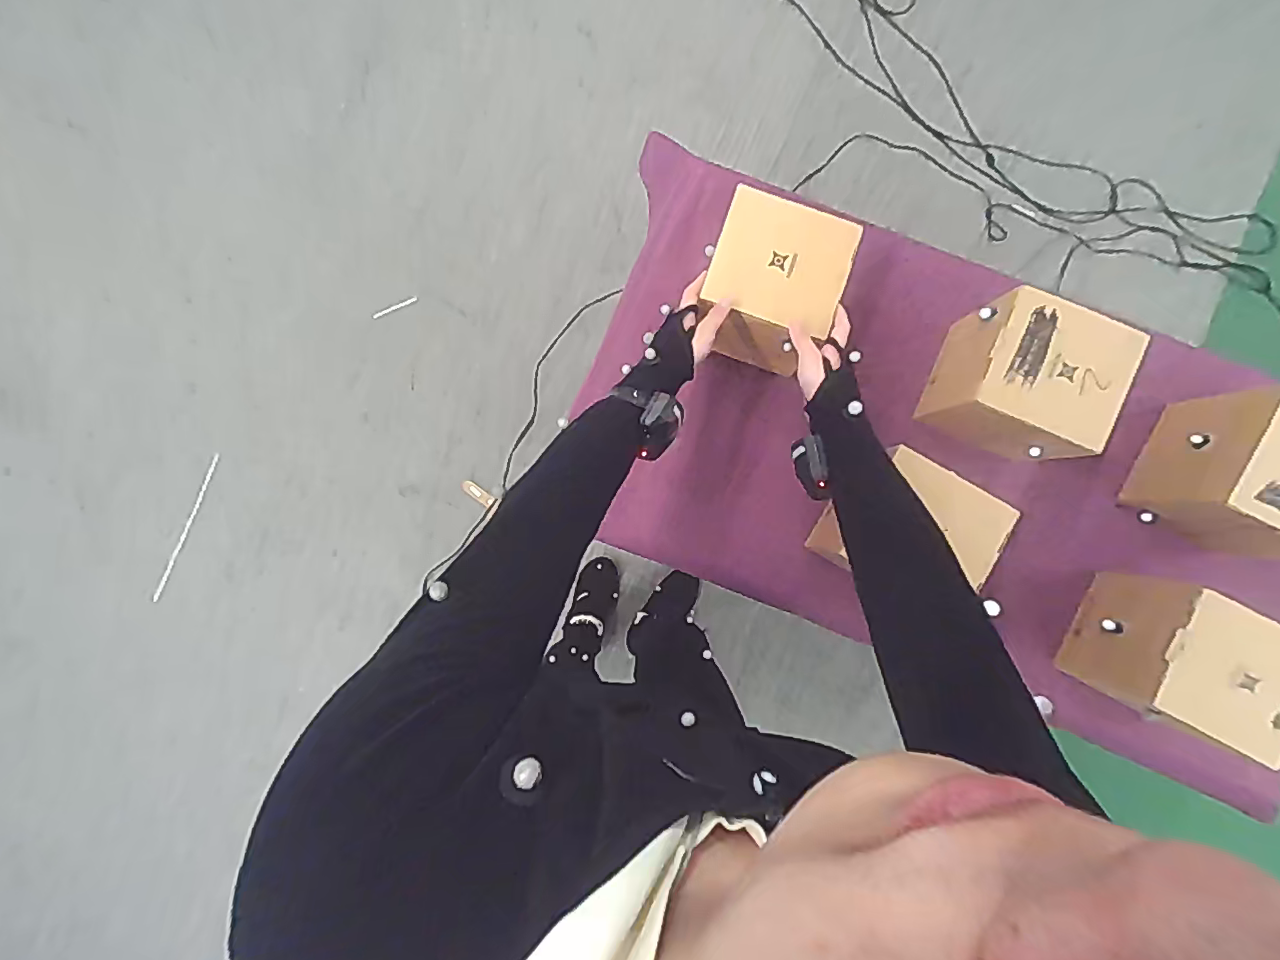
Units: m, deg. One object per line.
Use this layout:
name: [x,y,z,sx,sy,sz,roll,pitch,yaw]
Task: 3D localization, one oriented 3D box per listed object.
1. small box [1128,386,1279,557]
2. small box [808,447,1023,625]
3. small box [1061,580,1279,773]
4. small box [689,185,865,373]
small box: [0.839,-0.003,0.743,0.168,0.176,0.179,29,88,2]
small box: [0.367,0.072,0.755,0.179,0.176,0.168,31,88,3]
small box: [0.737,0.249,0.736,0.179,0.176,0.168,28,88,4]
small box: [0.180,-0.269,0.765,0.179,0.176,0.168,19,84,0]
